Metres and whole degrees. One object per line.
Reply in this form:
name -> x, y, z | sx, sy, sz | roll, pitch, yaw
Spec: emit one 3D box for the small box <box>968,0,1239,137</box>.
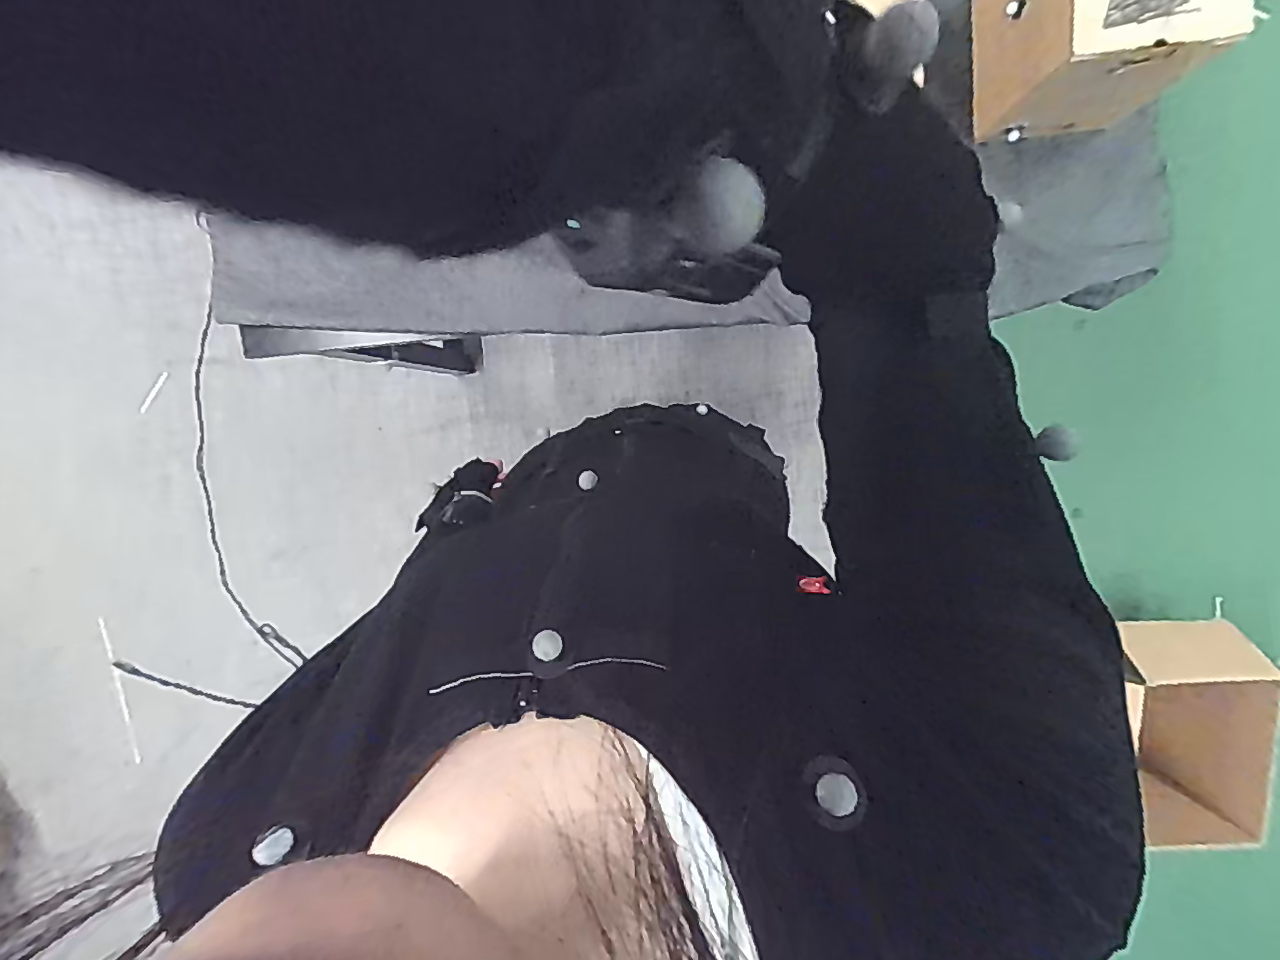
small box -> 0.488, -0.505, 0.593 | 0.168, 0.176, 0.179 | -5, 97, 2
